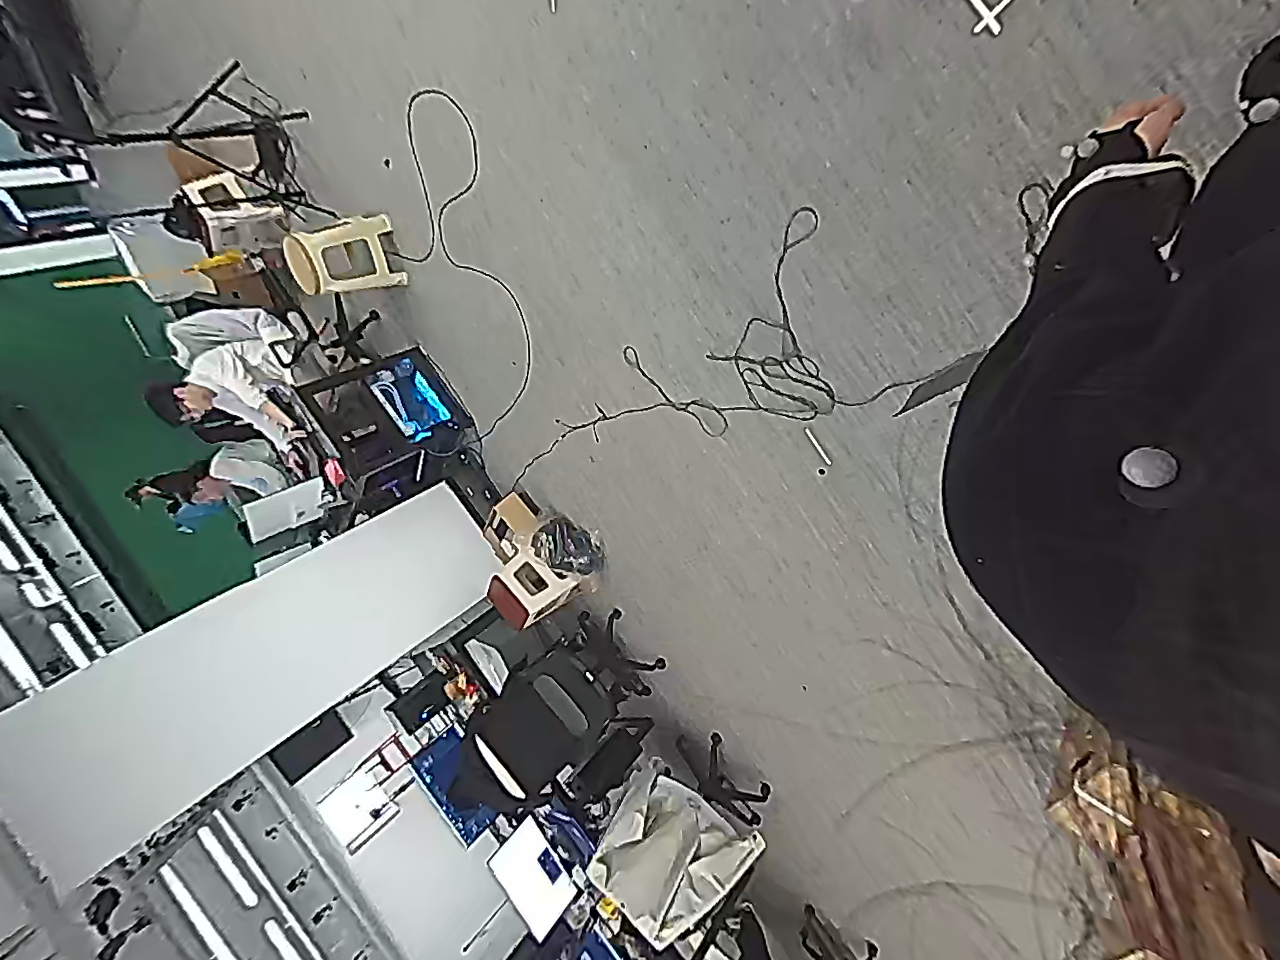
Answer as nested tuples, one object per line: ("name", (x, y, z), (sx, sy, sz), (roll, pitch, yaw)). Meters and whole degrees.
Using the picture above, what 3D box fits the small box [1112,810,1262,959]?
("small box", (1.193, 0.878, 1.186), (0.179, 0.176, 0.168), (29, 134, 32))
